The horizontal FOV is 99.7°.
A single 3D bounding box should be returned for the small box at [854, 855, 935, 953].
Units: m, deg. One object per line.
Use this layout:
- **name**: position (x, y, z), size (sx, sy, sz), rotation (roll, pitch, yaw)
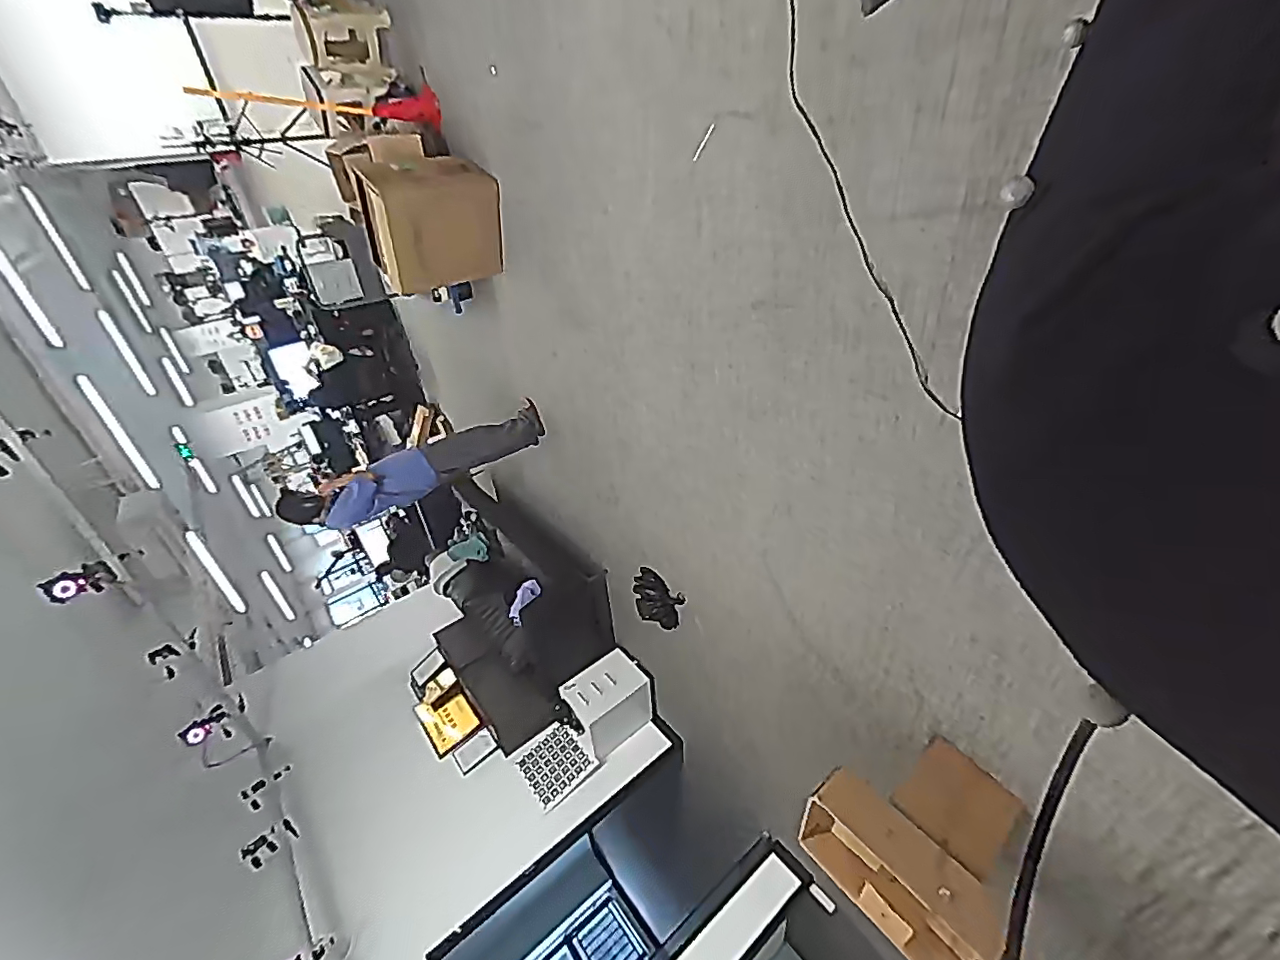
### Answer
- **small box**: position (0.843, 1.396, 1.790), size (0.168, 0.176, 0.179), rotation (36, 143, 42)
